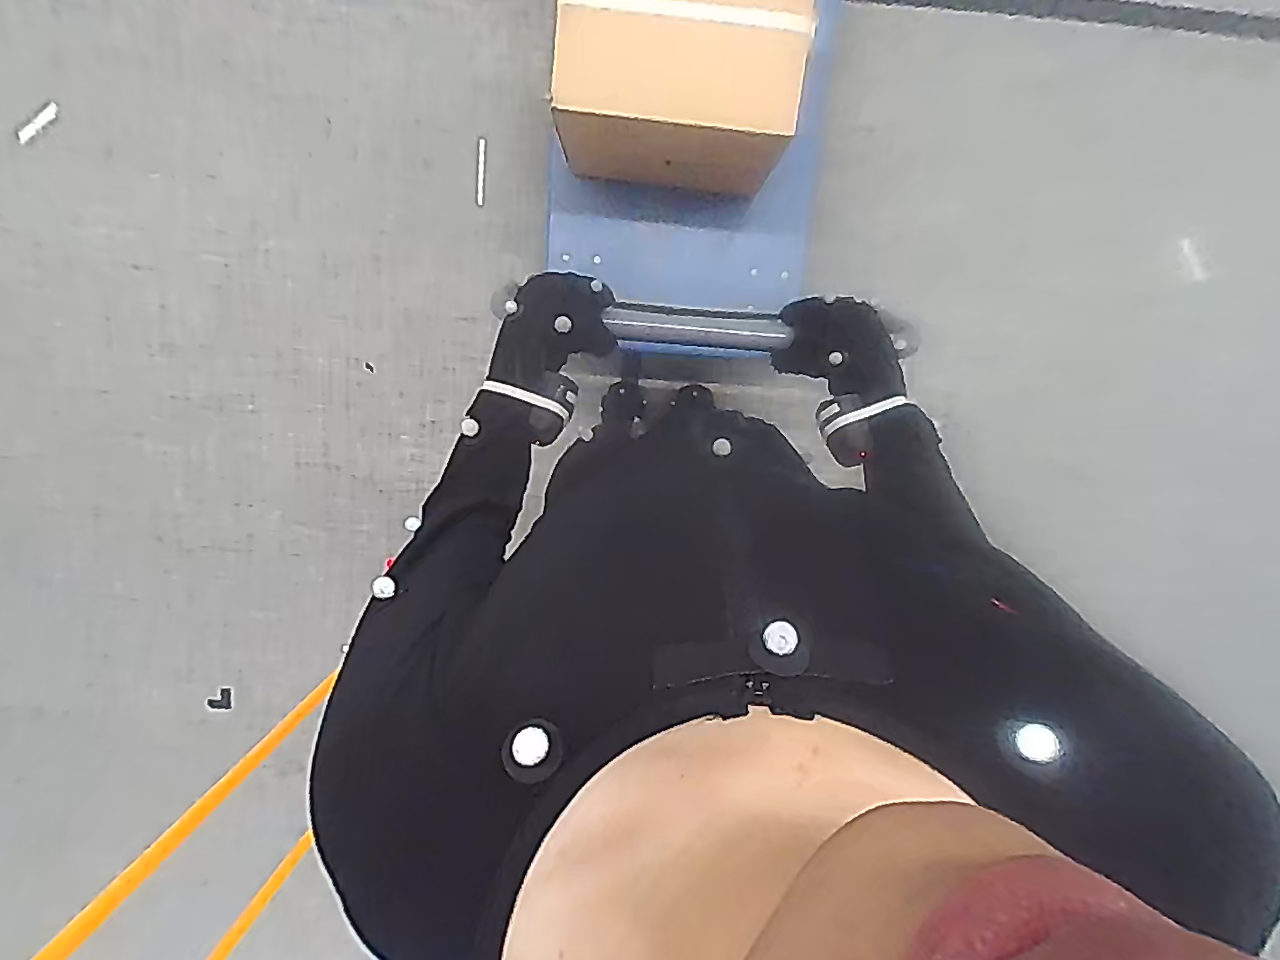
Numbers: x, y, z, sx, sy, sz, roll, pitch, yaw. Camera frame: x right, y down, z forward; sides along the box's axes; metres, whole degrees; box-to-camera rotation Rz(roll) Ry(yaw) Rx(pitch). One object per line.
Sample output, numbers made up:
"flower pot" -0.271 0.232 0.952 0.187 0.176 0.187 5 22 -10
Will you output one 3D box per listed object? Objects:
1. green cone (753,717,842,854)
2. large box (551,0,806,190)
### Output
"green cone" 0.452 0.842 1.457 0.202 0.368 0.200 8 101 -2
"large box" 0.066 -0.763 1.007 0.408 0.320 0.320 6 101 0
